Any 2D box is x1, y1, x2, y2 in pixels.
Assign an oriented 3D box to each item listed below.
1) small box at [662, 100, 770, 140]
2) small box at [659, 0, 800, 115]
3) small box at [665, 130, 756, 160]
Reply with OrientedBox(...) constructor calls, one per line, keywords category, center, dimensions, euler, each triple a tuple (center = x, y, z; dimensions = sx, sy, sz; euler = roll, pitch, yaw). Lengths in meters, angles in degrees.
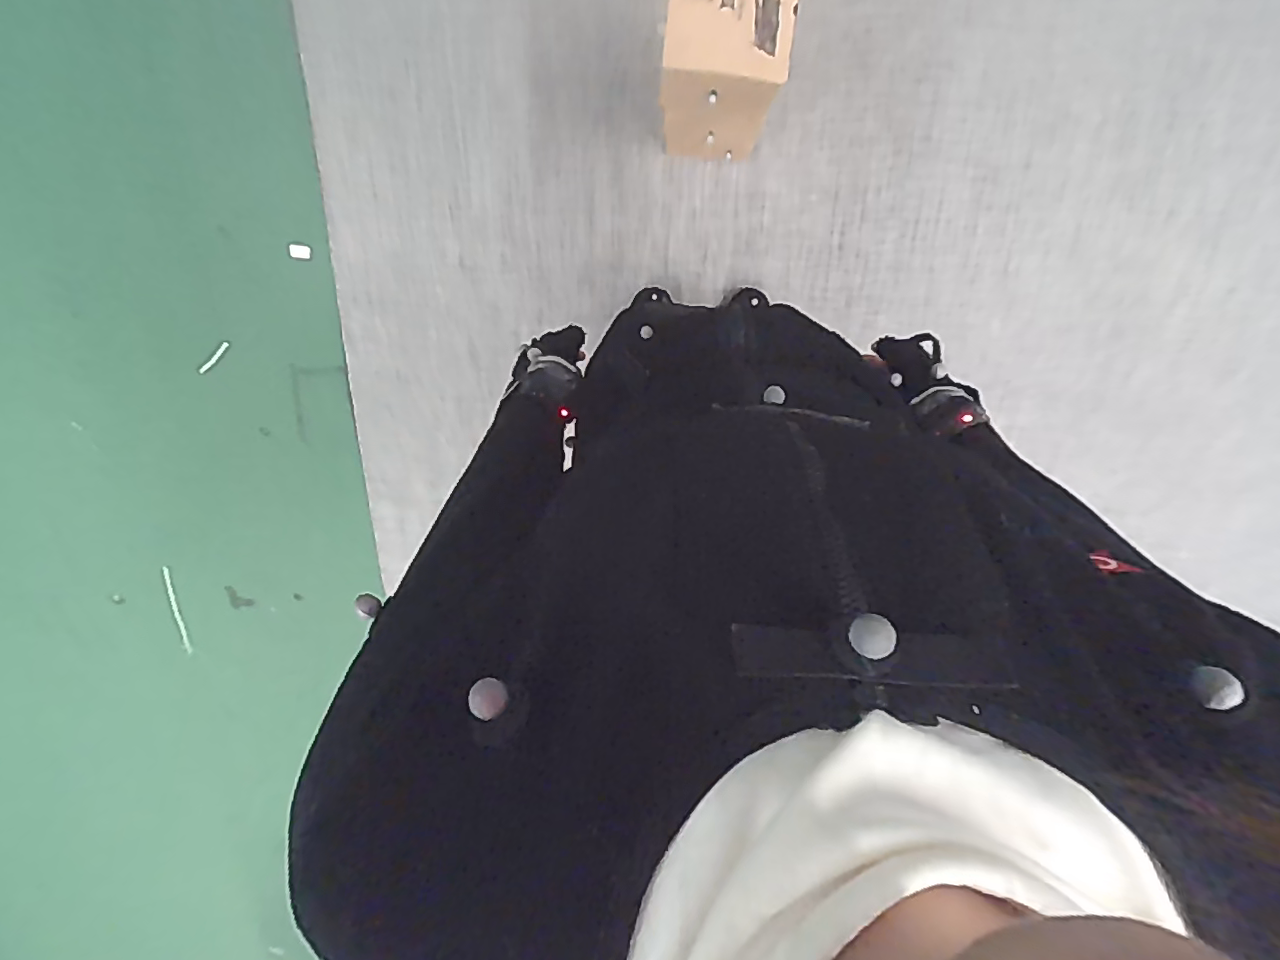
OrientedBox(category="small box", center=(0.136, -0.714, 0.946), dimensions=(0.179, 0.176, 0.168), euler=(6, 110, -1))
OrientedBox(category="small box", center=(0.127, -0.660, 0.791), dimensions=(0.179, 0.176, 0.168), euler=(9, 110, 1))
OrientedBox(category="small box", center=(0.145, -0.767, 1.102), dimensions=(0.179, 0.176, 0.168), euler=(4, 109, 2))
